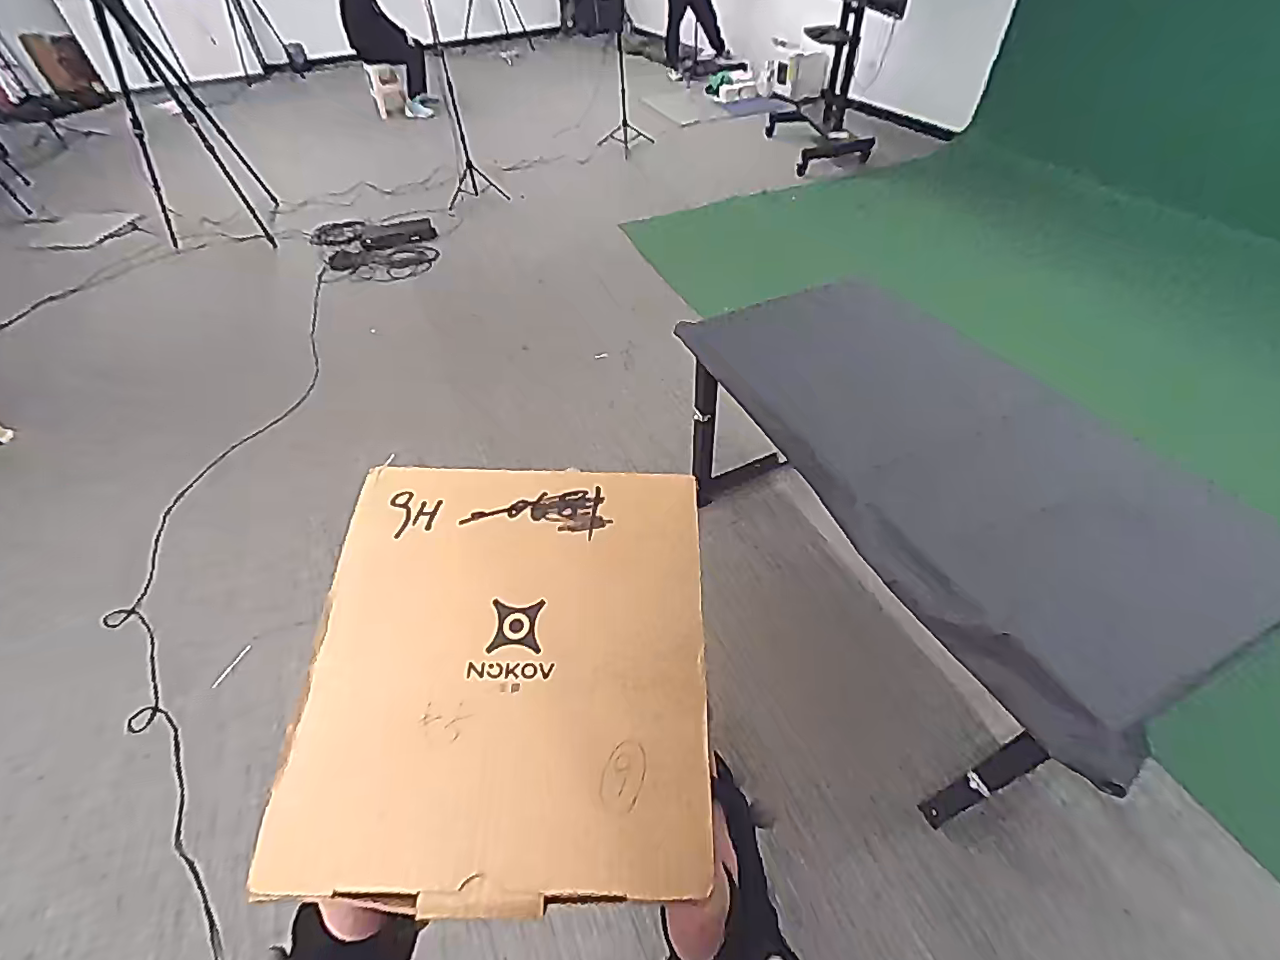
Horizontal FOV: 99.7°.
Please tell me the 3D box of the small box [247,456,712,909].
[{"bbox_3d":[-0.058,0.106,0.296,0.168,0.176,0.179,3,62,-4],"label":"small box"}]
